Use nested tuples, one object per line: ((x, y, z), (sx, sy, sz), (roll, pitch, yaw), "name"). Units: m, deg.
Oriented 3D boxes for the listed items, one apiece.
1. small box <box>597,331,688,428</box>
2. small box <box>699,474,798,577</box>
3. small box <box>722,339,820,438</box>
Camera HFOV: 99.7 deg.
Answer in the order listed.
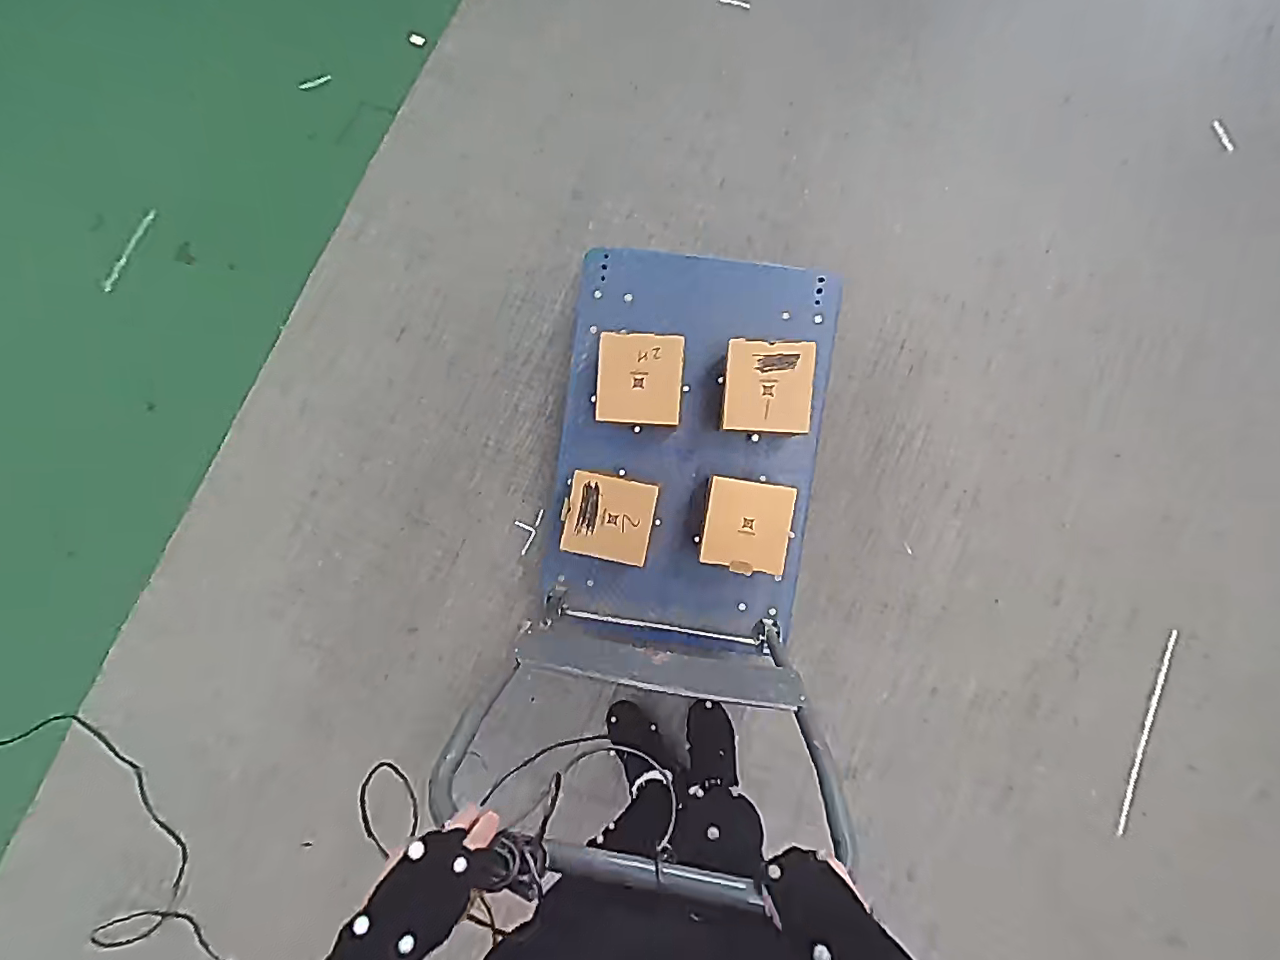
((0.011, -0.204, 1.136), (0.168, 0.176, 0.179), (5, 93, 5), "small box")
((0.218, 0.086, 1.130), (0.168, 0.176, 0.179), (10, 94, 5), "small box")
((0.260, -0.181, 1.112), (0.168, 0.176, 0.179), (5, 94, 6), "small box")
